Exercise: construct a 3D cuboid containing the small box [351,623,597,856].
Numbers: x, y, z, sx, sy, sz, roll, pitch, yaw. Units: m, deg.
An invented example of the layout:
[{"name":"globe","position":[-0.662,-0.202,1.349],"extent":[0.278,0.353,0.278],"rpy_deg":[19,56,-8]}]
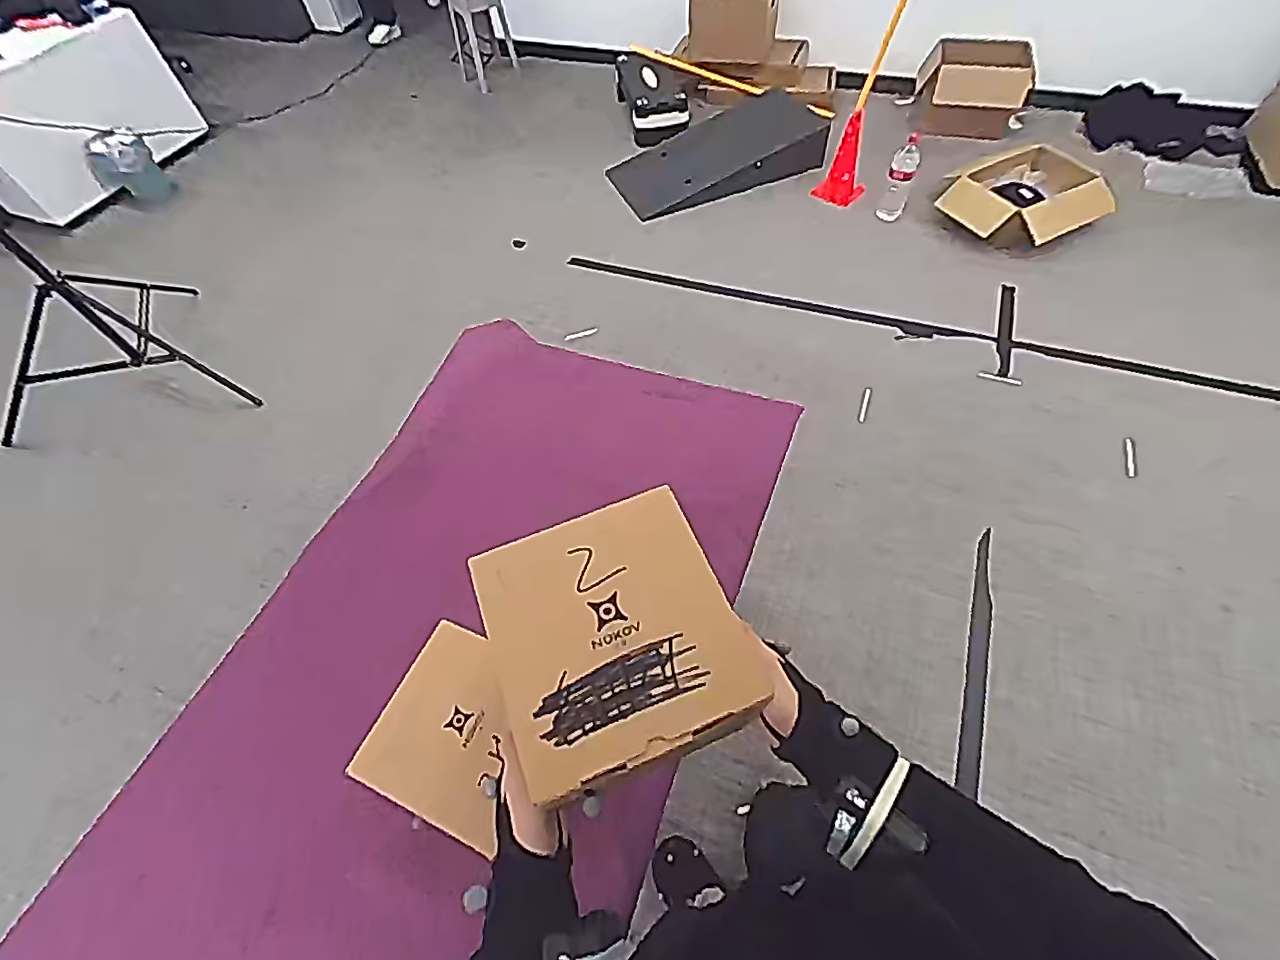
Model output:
[{"name":"small box","position":[-0.166,0.290,0.605],"extent":[0.179,0.176,0.168],"rpy_deg":[19,61,16]}]
